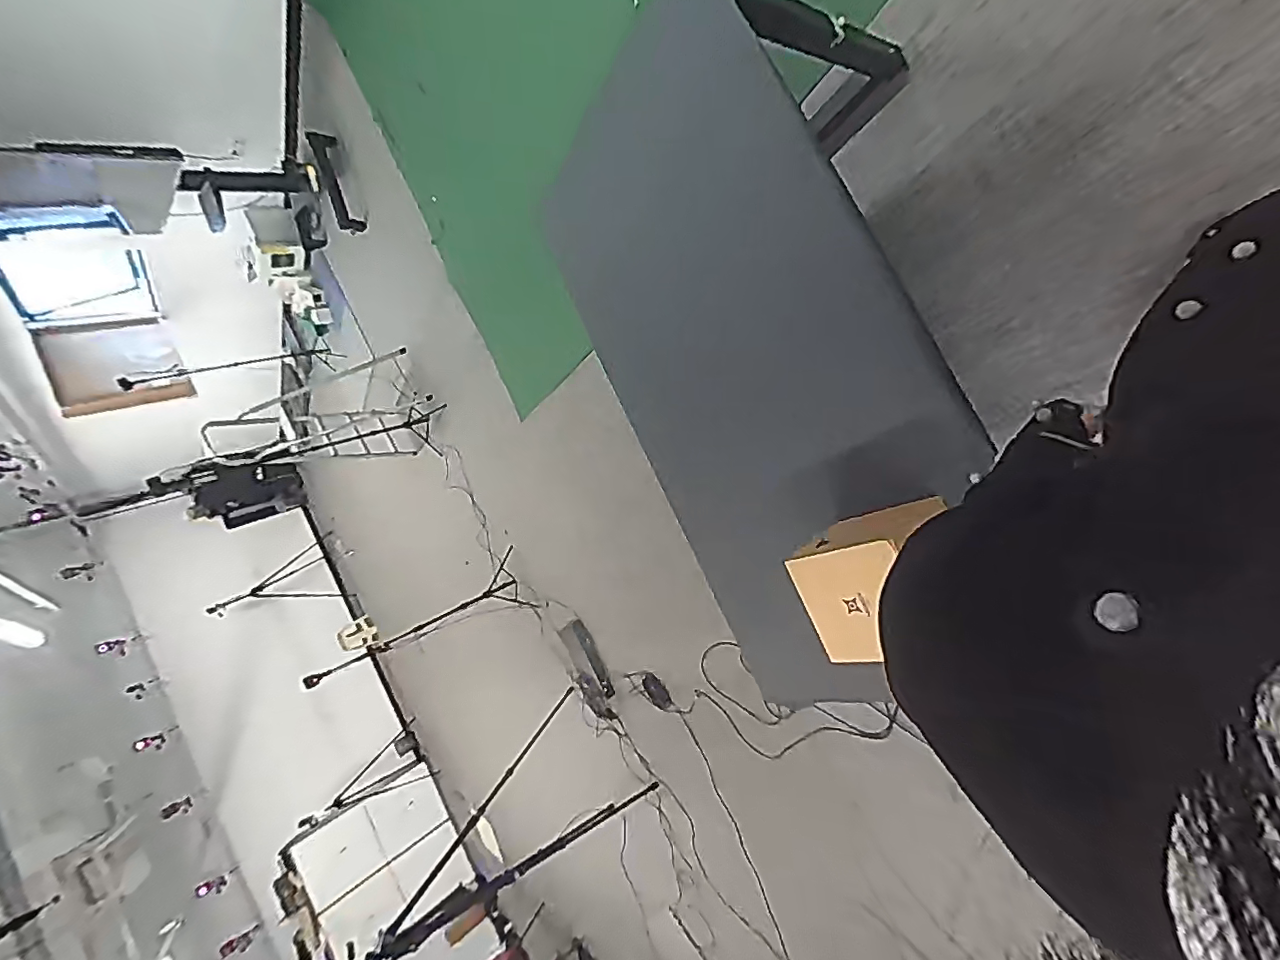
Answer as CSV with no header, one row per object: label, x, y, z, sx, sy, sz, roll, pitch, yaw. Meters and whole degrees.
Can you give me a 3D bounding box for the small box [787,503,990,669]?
small box,0.351,0.150,0.766,0.179,0.176,0.168,-28,87,50
